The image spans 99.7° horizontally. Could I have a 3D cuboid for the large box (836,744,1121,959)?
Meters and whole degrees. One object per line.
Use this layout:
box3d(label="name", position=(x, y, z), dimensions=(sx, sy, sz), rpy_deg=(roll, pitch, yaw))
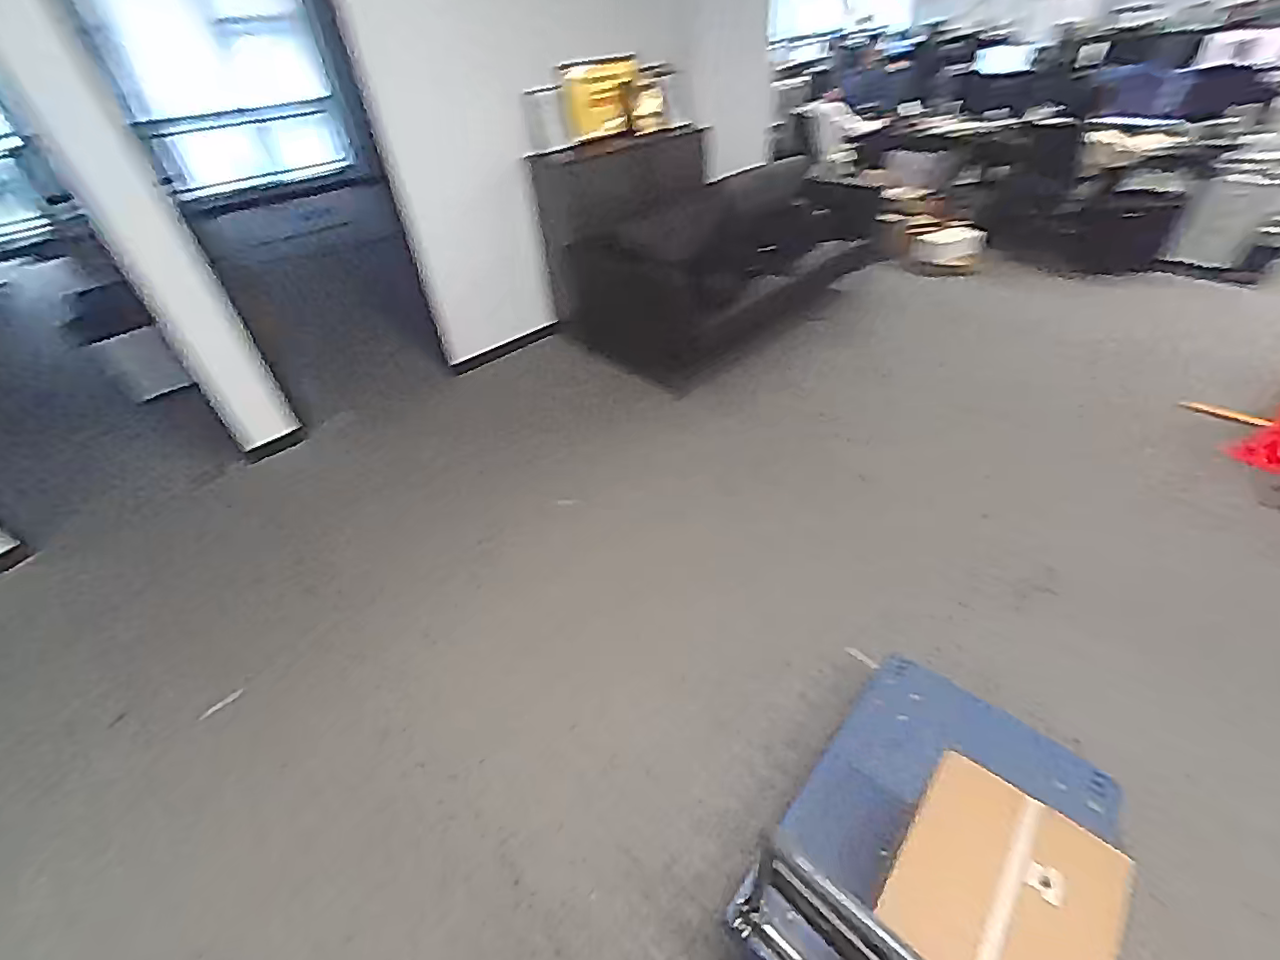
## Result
box3d(label="large box", position=(0.623, 0.821, 1.027), dimensions=(0.320, 0.320, 0.408), rpy_deg=(28, 50, 32))
